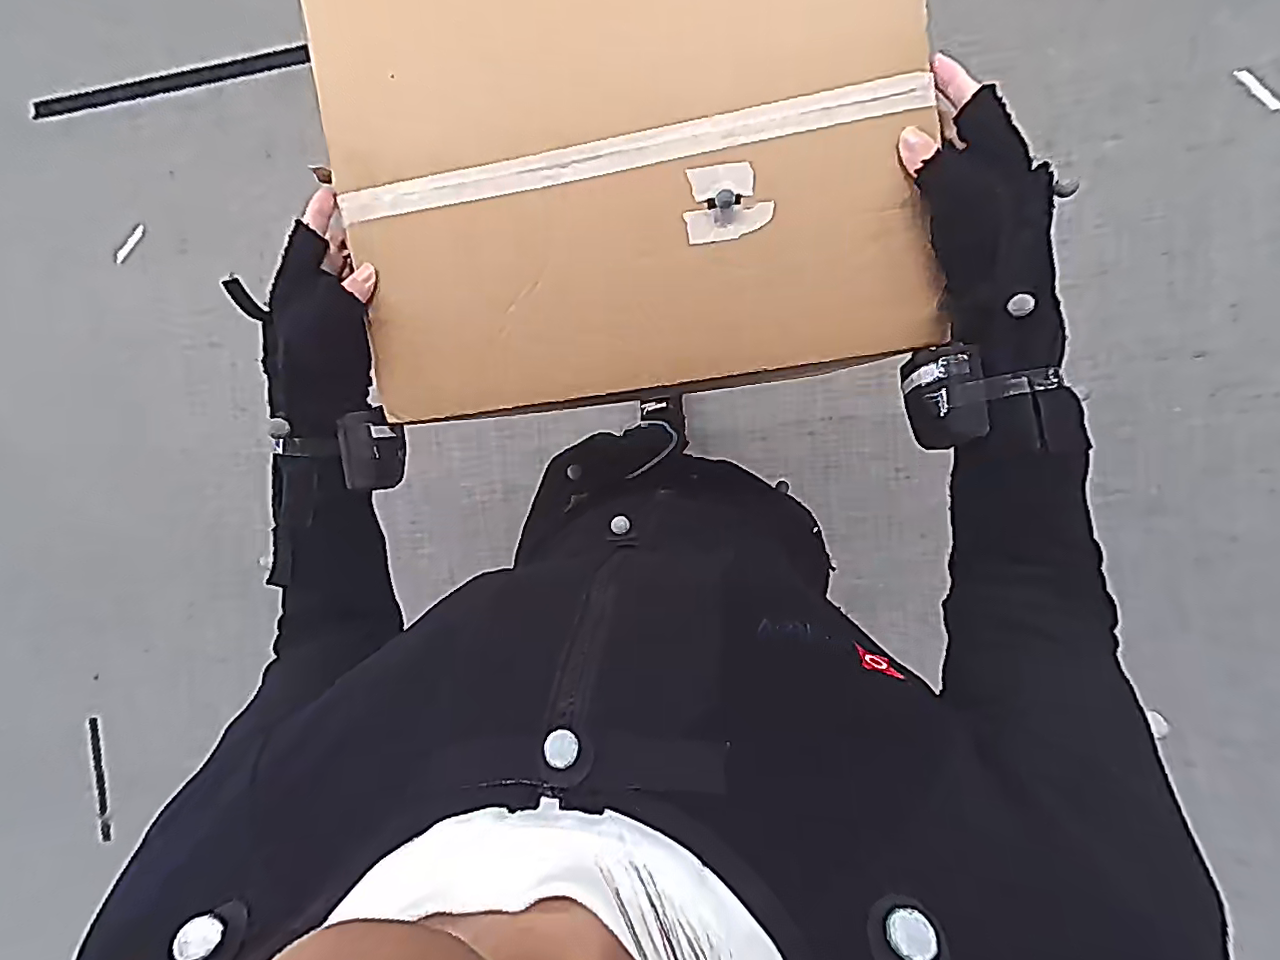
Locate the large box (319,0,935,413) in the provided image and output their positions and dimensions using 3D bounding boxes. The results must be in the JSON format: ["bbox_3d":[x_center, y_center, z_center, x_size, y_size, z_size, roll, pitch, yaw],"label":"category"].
[{"bbox_3d":[0.000,-0.250,0.525,0.408,0.320,0.320,-8,98,6],"label":"large box"}]
